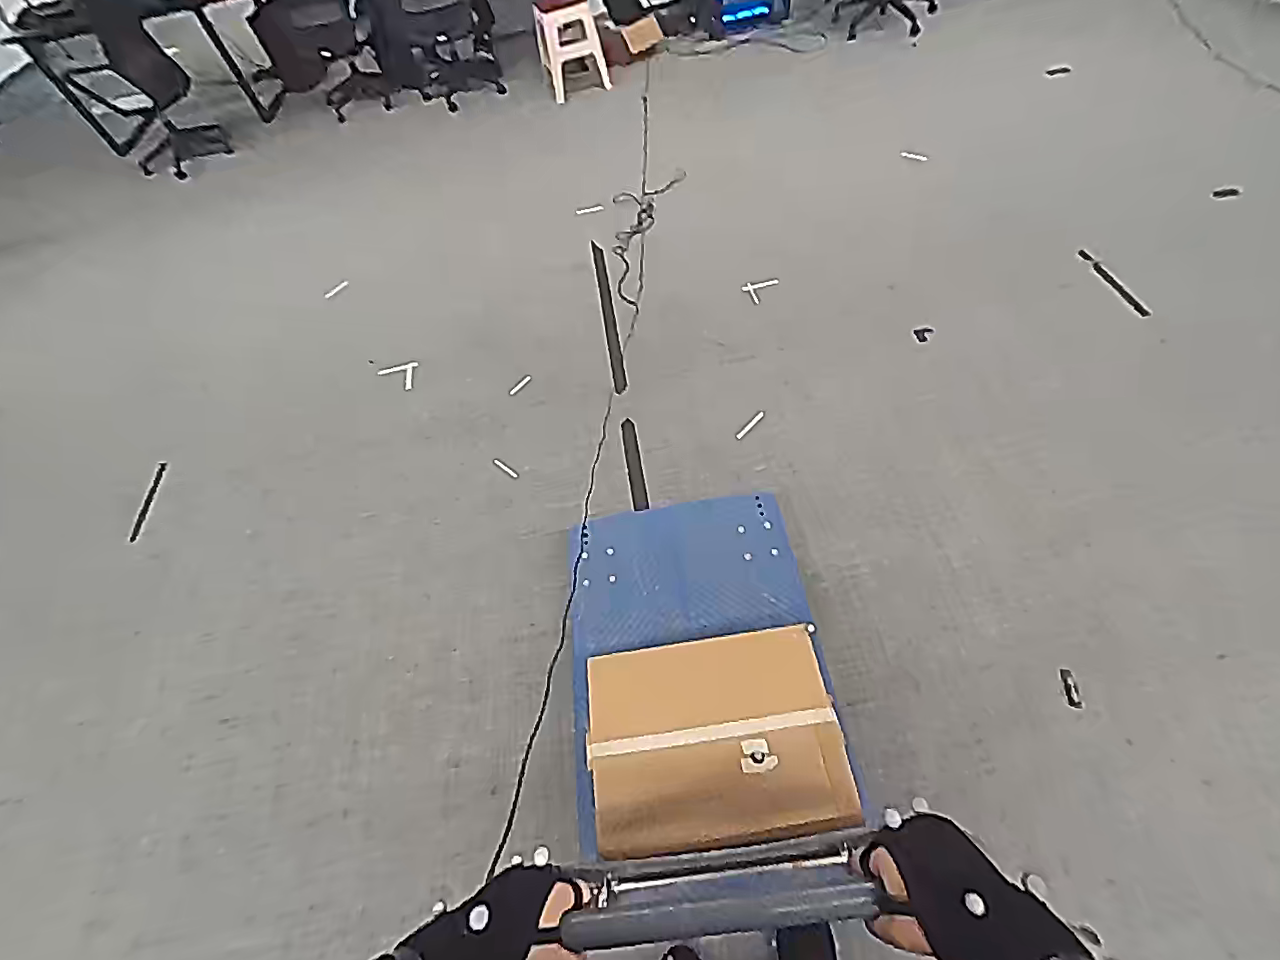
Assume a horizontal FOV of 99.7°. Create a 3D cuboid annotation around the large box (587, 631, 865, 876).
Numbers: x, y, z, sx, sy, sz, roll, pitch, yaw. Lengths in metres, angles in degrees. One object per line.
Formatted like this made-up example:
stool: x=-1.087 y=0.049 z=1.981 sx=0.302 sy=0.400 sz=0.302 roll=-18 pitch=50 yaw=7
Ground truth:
large box: x=0.135 y=0.512 z=0.998 sx=0.408 sy=0.320 sz=0.320 roll=-10 pitch=54 yaw=2
